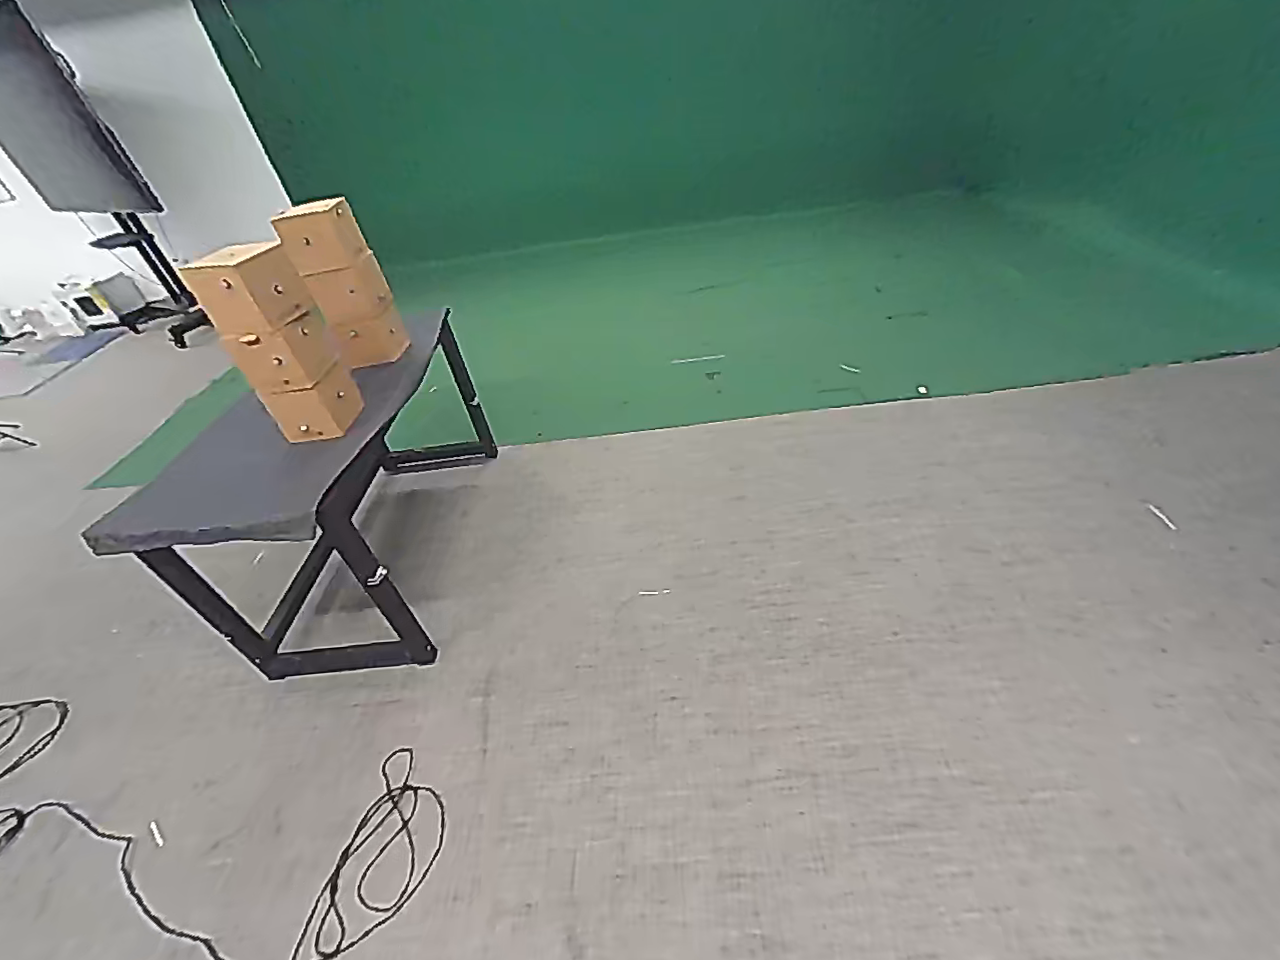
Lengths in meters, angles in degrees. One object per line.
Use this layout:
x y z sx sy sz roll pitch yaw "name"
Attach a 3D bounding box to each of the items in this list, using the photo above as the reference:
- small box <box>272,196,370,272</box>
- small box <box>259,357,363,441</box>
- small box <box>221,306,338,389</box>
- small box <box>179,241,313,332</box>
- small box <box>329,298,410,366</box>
-0.989 -0.767 1.692 0.179 0.176 0.168 -10 40 3 "small box"
-0.936 -0.233 1.563 0.168 0.176 0.179 -6 40 5 "small box"
-0.956 -0.354 1.457 0.168 0.176 0.179 -5 39 5 "small box"
-0.971 -0.482 1.353 0.179 0.176 0.168 3 41 15 "small box"
-0.942 -0.520 1.904 0.179 0.176 0.168 -7 40 5 "small box"
